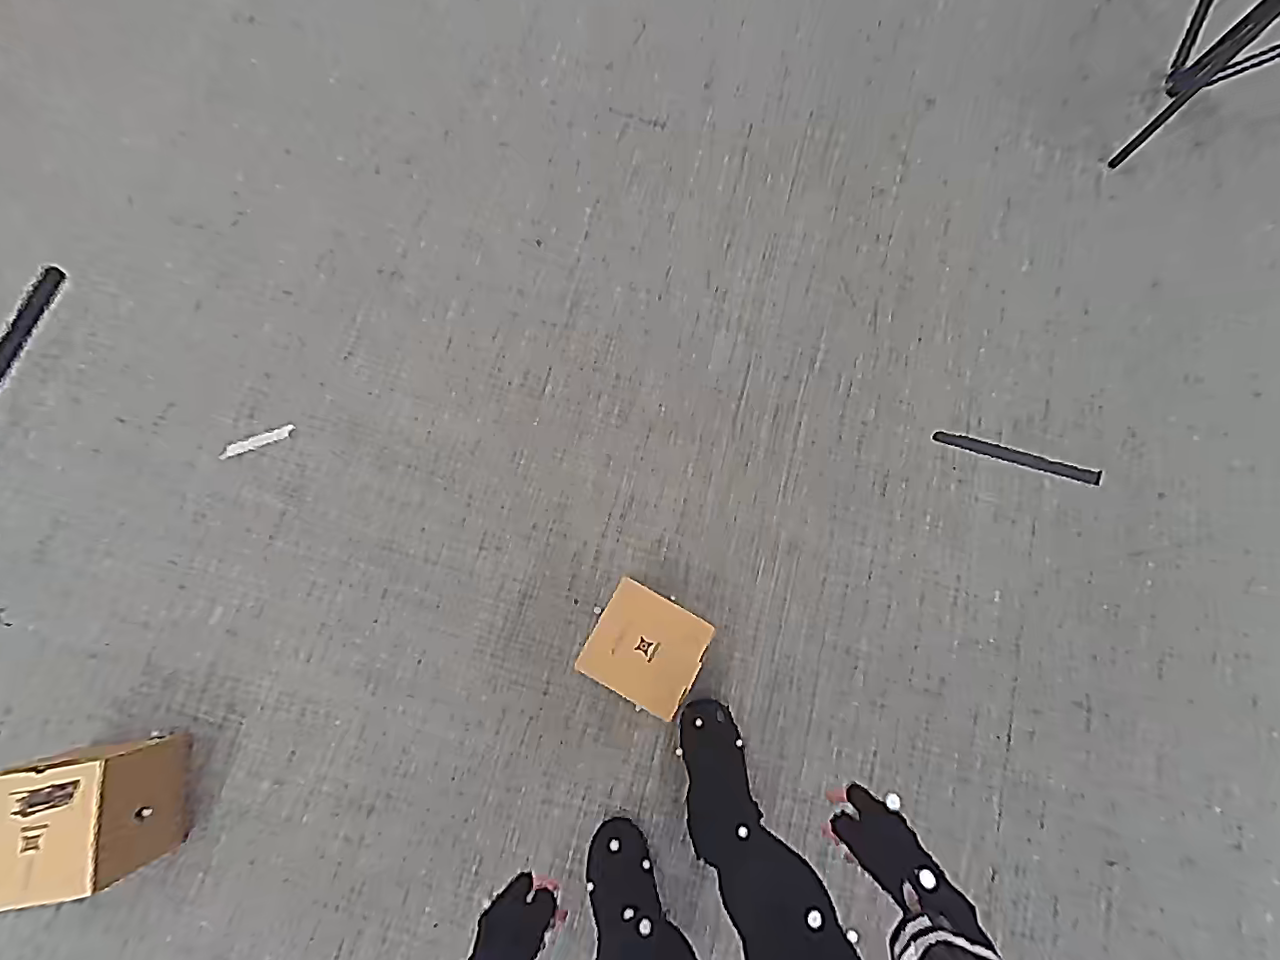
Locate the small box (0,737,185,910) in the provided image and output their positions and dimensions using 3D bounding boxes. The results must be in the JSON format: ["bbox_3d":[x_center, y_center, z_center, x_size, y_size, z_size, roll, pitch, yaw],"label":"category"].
[{"bbox_3d":[-0.833,0.500,0.813,0.168,0.176,0.179,-6,79,-5],"label":"small box"}]

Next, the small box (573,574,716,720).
[{"bbox_3d":[0.004,0.277,0.925,0.179,0.176,0.168,28,76,4],"label":"small box"}]
